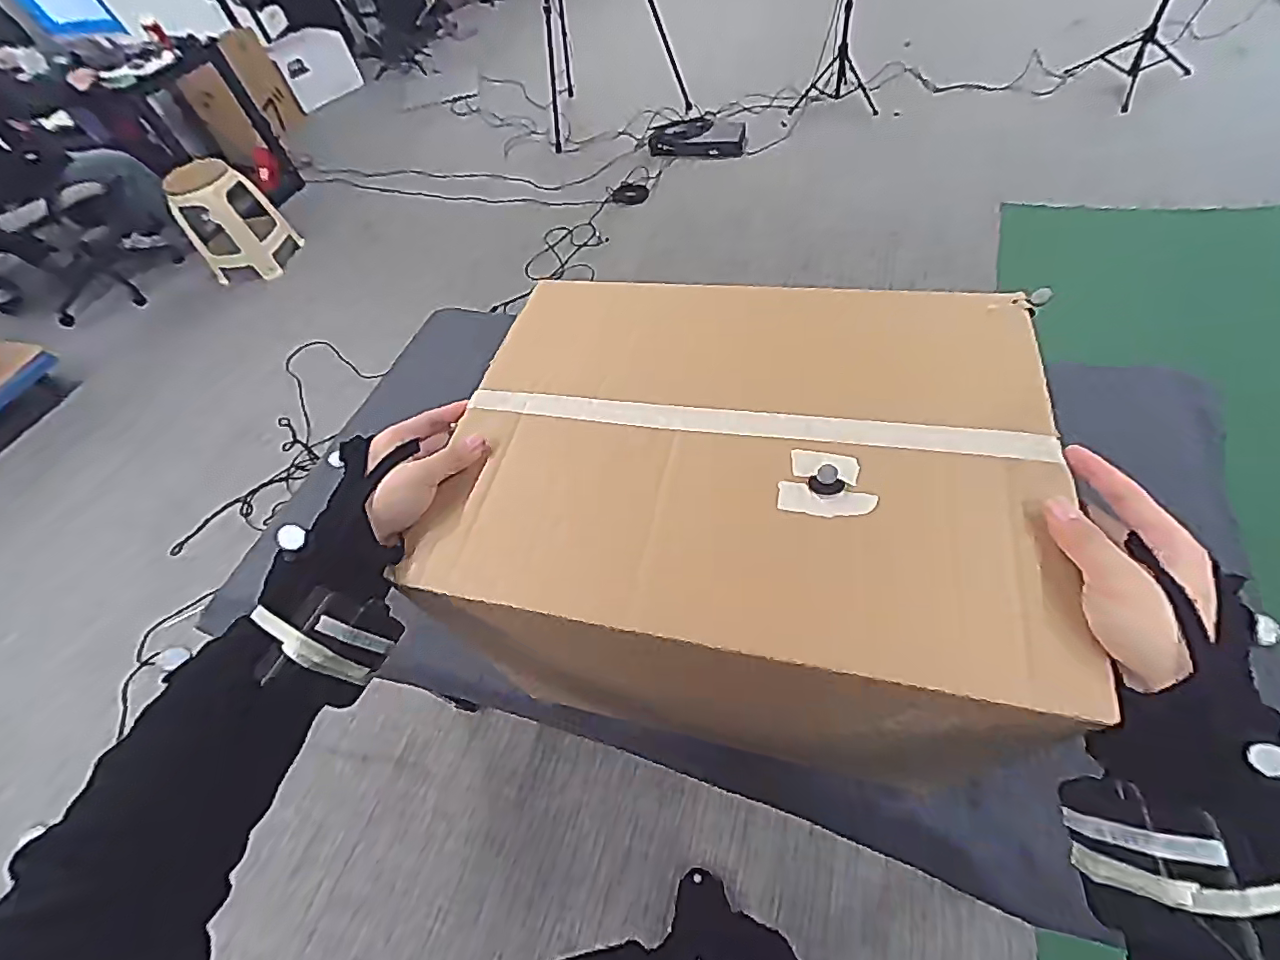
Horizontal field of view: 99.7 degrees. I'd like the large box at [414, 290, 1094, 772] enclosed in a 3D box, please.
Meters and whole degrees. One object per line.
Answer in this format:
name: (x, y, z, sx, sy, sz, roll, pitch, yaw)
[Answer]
large box: (0.089, 0.048, 0.516, 0.408, 0.320, 0.320, 8, 58, 13)
